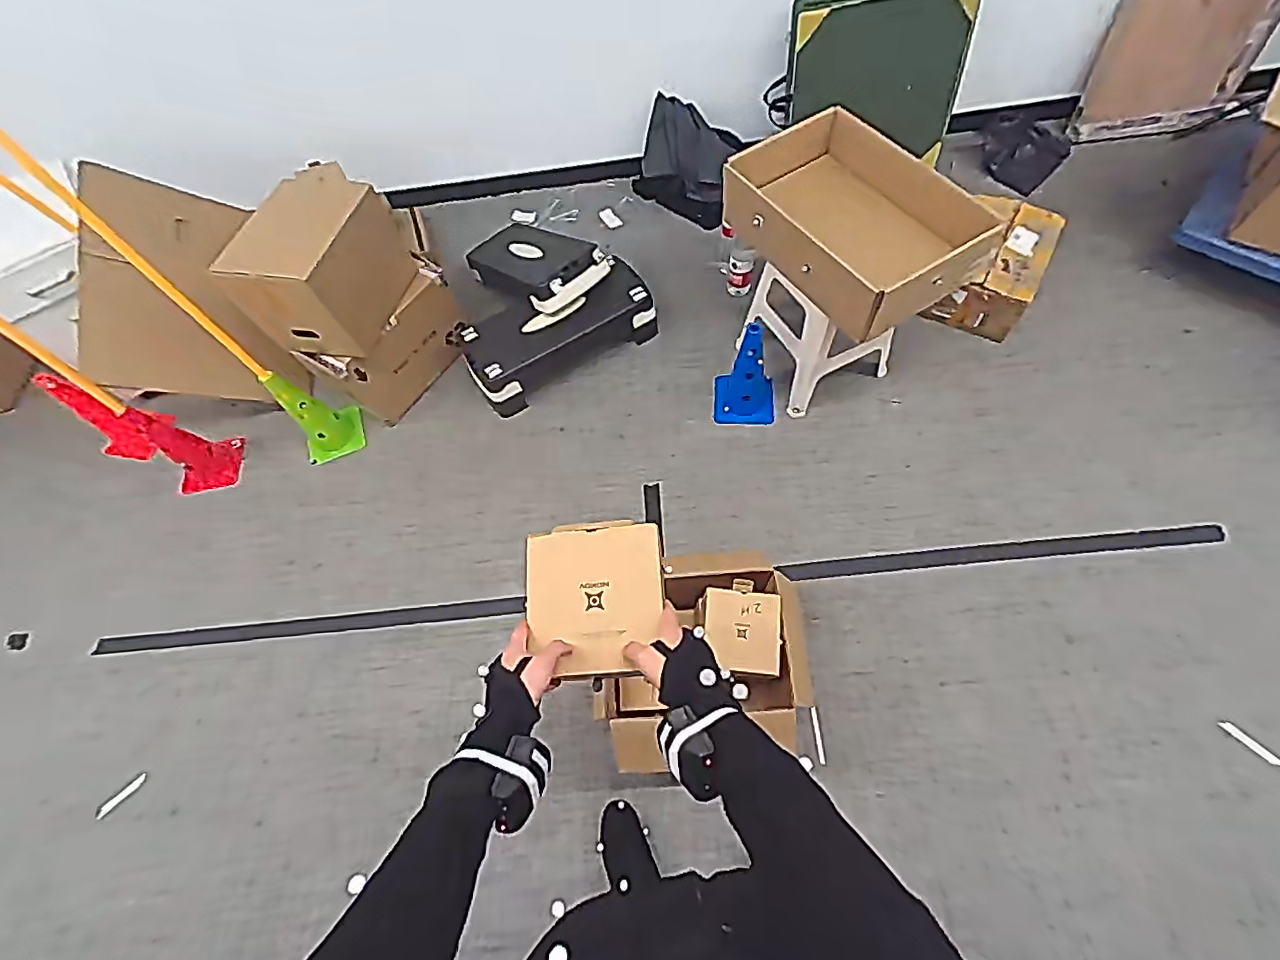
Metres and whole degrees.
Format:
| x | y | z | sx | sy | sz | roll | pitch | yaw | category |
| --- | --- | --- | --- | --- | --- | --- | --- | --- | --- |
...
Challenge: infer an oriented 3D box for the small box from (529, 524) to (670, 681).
| x | y | z | sx | sy | sz | roll | pitch | yaw | category |
| --- | --- | --- | --- | --- | --- | --- | --- | --- | --- |
| -0.047 | 0.172 | 0.731 | 0.168 | 0.176 | 0.179 | -5 | 68 | 3 | small box |
